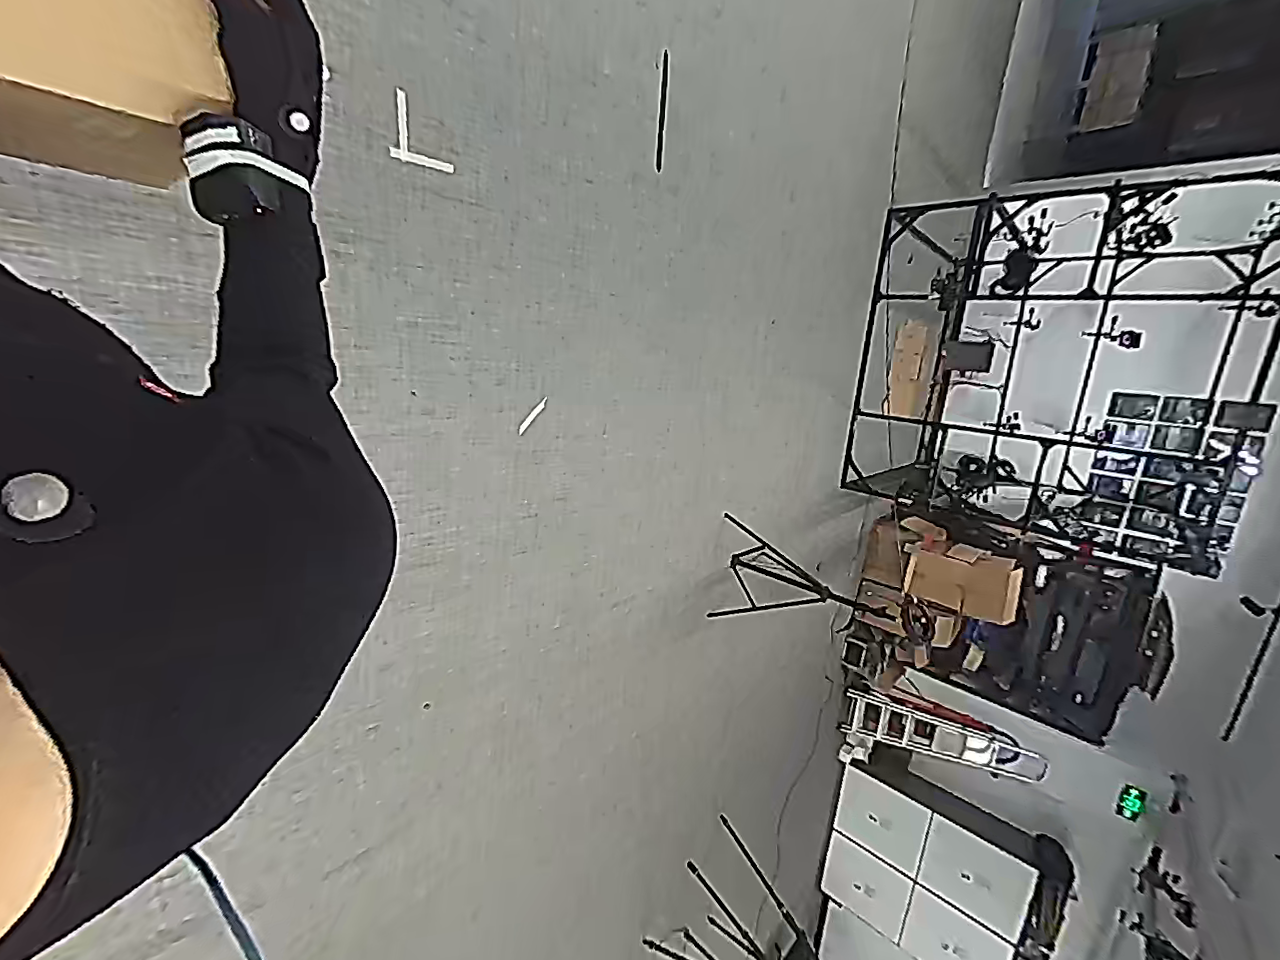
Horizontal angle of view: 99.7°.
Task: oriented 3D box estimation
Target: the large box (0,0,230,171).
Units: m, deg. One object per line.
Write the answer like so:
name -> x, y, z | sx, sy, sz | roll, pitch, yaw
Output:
large box -> -0.559, -0.435, 0.342 | 0.408, 0.320, 0.320 | -11, 112, -49
